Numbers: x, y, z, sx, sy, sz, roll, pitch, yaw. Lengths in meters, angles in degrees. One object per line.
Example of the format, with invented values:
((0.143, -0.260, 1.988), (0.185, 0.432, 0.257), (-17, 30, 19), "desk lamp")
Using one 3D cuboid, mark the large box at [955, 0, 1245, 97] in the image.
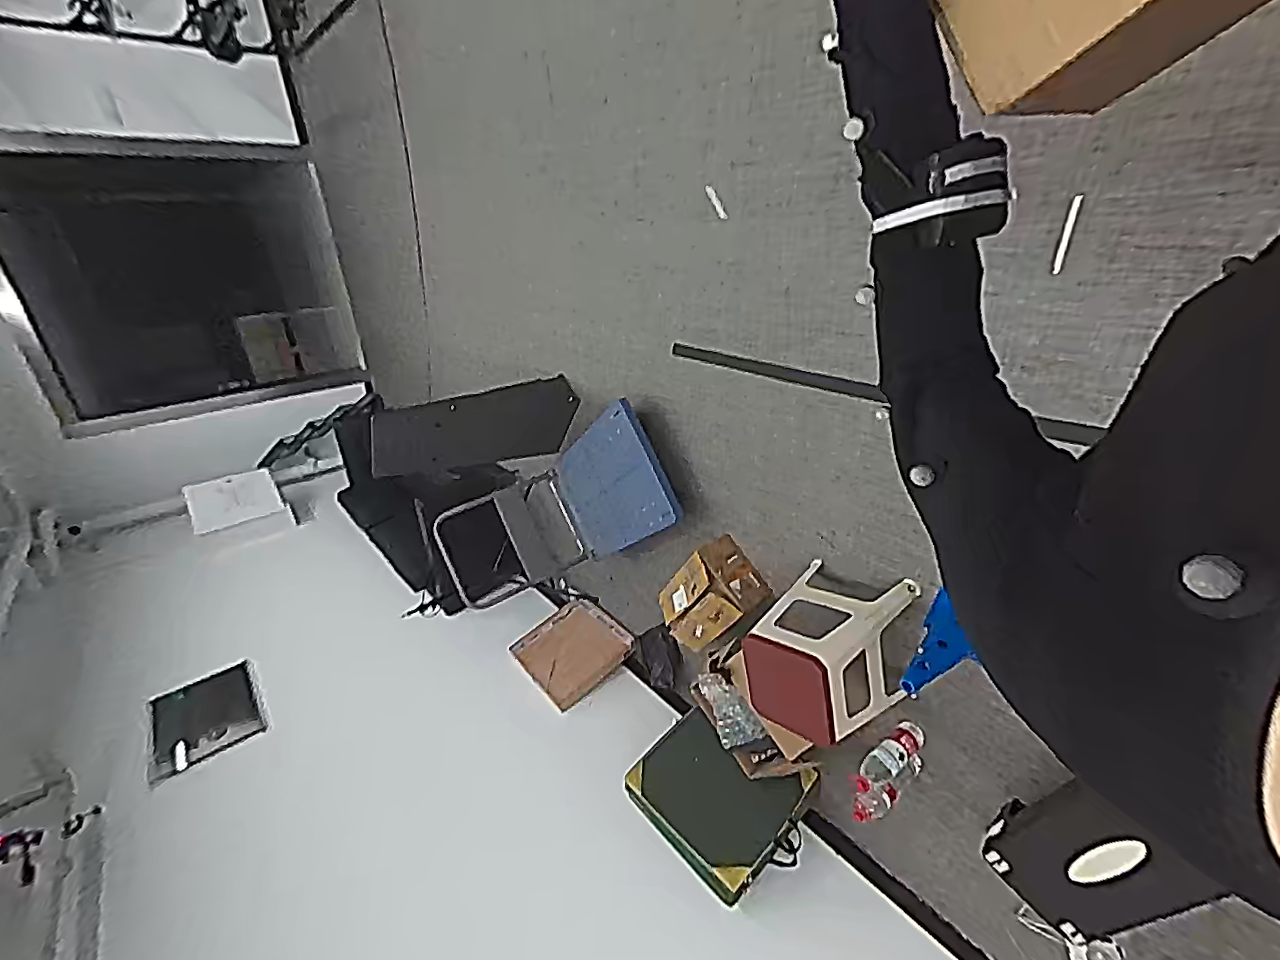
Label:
((0.392, -0.513, 0.301), (0.408, 0.320, 0.320), (-23, 95, 55), "large box")
